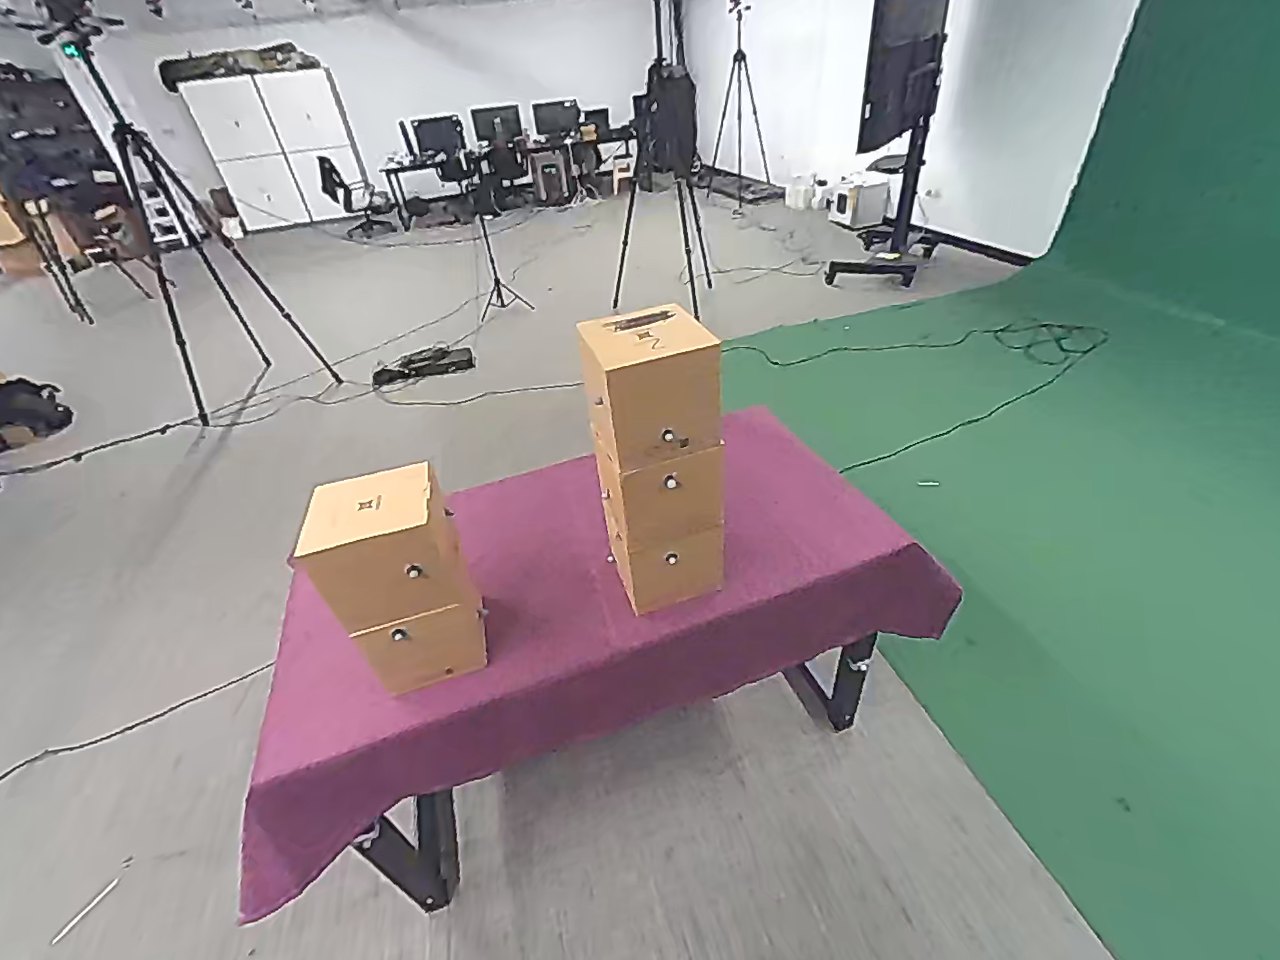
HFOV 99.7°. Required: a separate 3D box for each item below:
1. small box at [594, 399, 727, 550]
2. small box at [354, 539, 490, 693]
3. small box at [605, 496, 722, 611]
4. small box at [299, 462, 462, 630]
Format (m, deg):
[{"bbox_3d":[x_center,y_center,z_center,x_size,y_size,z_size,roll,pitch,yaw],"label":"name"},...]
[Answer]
[{"bbox_3d":[0.034,-0.010,0.919,0.179,0.176,0.168,-17,39,-11],"label":"small box"},{"bbox_3d":[-0.367,0.231,0.938,0.168,0.176,0.179,-15,38,-10],"label":"small box"},{"bbox_3d":[0.047,0.119,1.017,0.179,0.176,0.168,-15,38,-11],"label":"small box"},{"bbox_3d":[-0.383,0.101,0.839,0.179,0.176,0.168,-14,38,-9],"label":"small box"}]
